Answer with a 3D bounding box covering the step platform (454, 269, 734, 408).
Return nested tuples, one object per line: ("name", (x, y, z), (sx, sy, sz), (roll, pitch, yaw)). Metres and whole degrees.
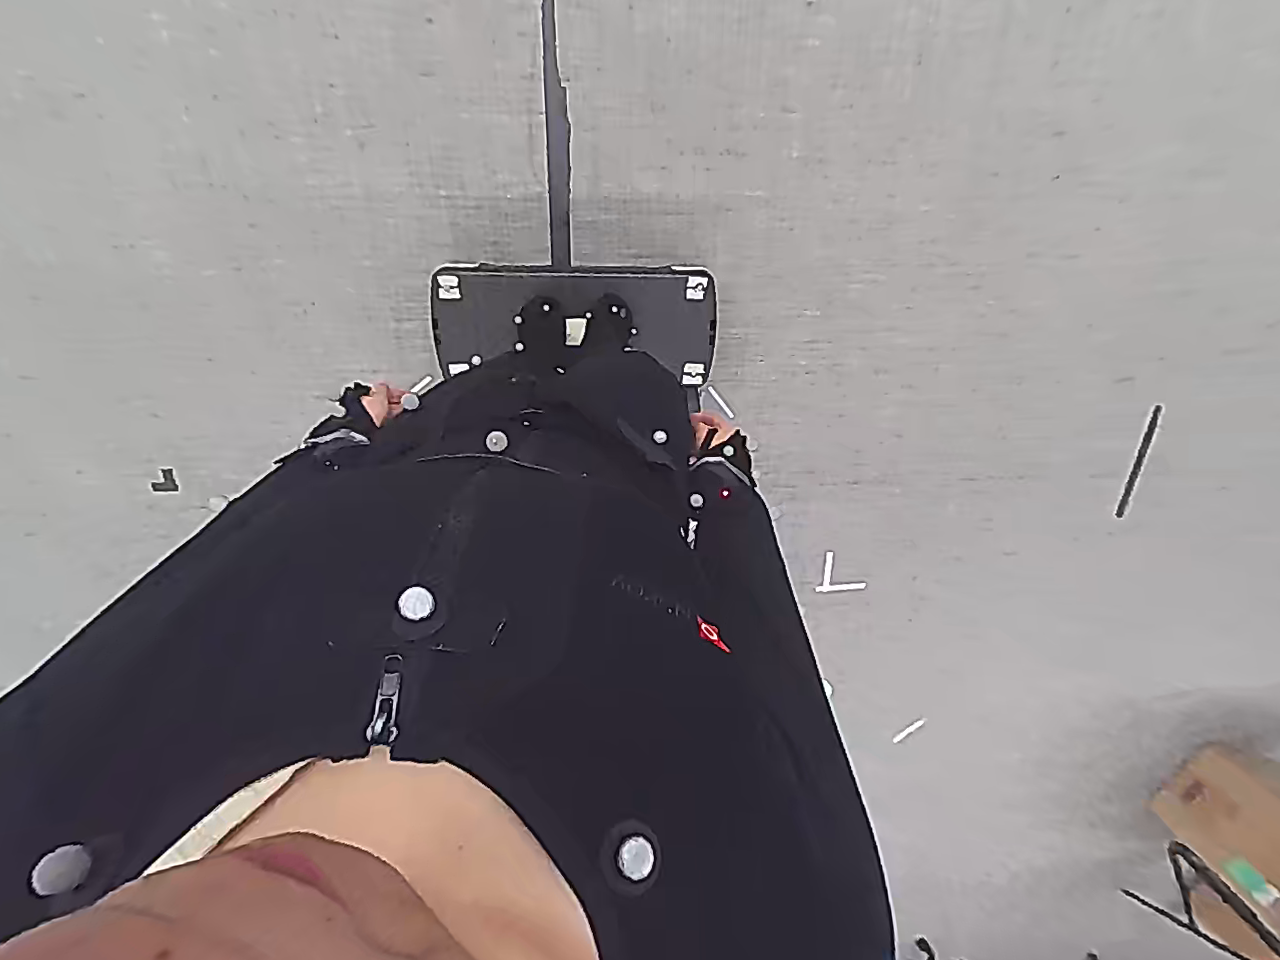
("step platform", (-0.110, -0.354, 1.364), (0.684, 0.204, 0.286), (3, 111, -7))
